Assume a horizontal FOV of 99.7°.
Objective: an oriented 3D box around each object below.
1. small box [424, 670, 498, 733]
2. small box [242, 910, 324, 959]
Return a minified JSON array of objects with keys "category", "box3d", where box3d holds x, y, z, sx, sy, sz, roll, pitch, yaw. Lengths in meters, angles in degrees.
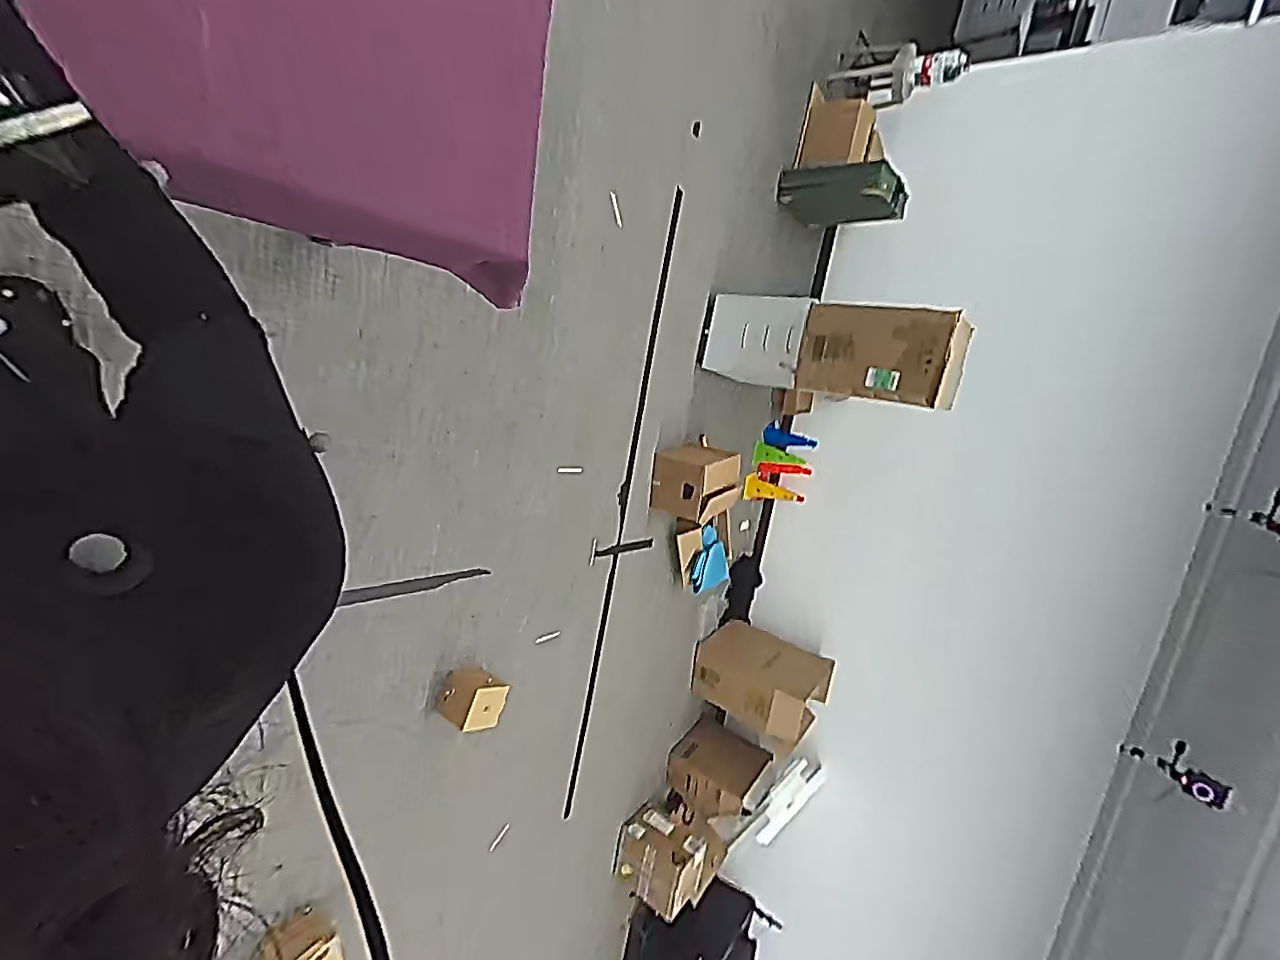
[{"category":"small box","box3d":[-0.687,0.845,2.079,0.179,0.176,0.168,27,81,-56]},{"category":"small box","box3d":[-1.134,1.528,1.721,0.168,0.176,0.179,-20,121,-52]}]
